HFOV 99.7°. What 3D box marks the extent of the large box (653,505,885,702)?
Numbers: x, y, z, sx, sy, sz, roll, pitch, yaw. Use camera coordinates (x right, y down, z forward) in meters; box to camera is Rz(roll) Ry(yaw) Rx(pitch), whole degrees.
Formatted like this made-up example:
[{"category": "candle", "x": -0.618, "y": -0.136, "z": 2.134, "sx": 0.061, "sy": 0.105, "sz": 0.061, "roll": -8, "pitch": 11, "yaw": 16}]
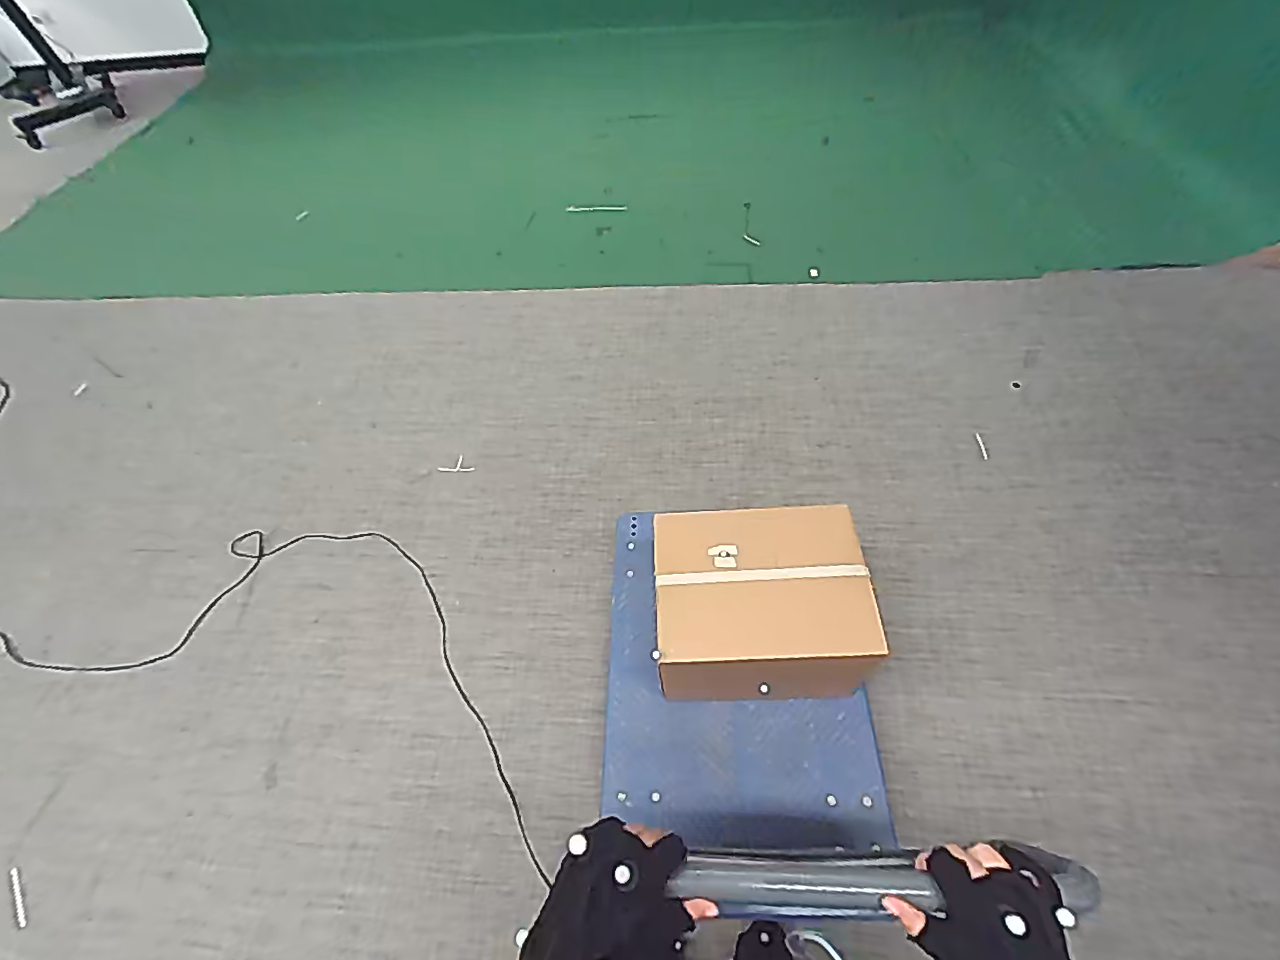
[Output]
[{"category": "large box", "x": 0.246, "y": 0.278, "z": 1.170, "sx": 0.408, "sy": 0.320, "sz": 0.320, "roll": -5, "pitch": 54, "yaw": 3}]
